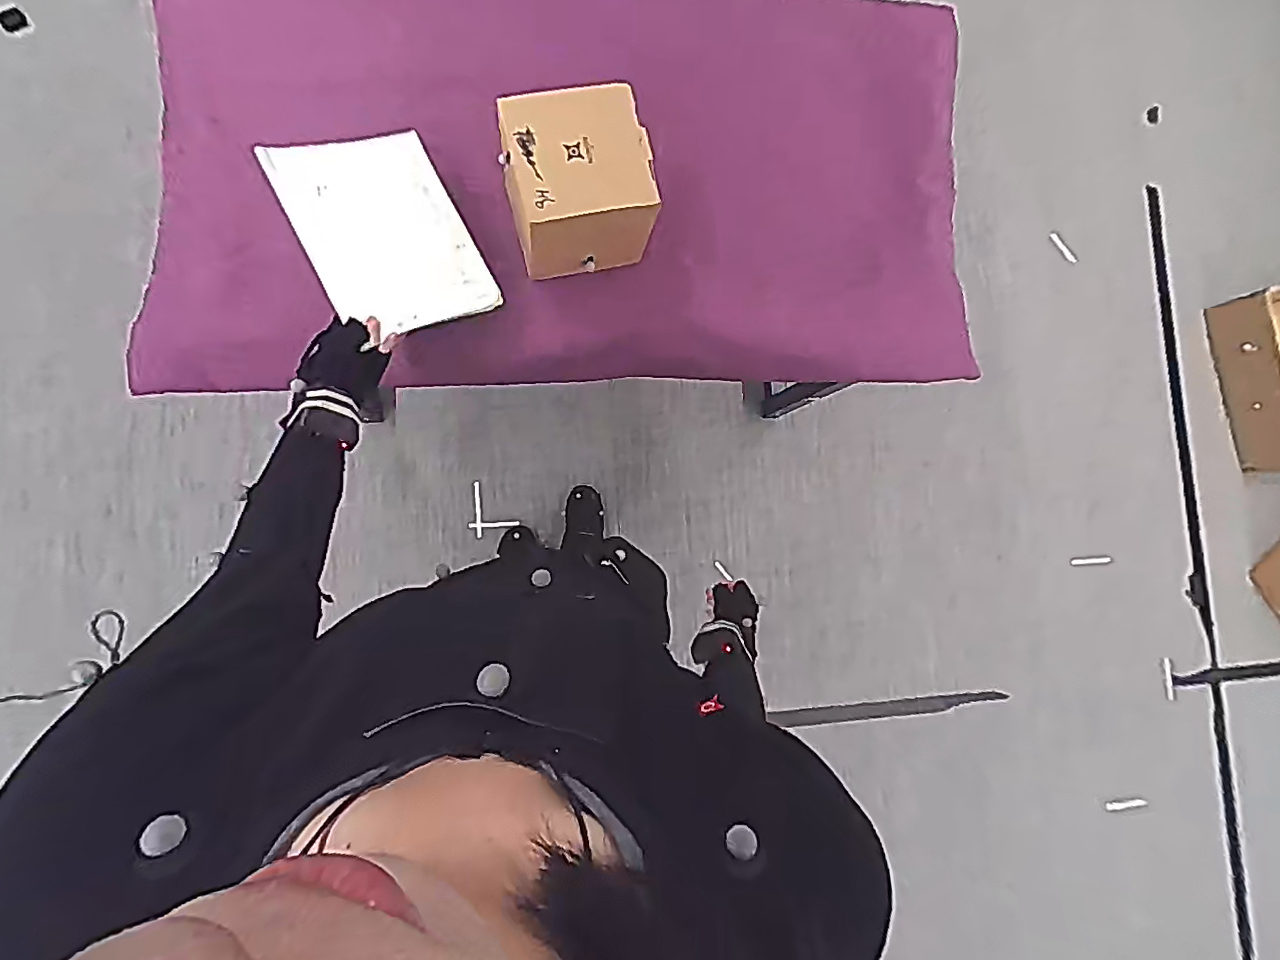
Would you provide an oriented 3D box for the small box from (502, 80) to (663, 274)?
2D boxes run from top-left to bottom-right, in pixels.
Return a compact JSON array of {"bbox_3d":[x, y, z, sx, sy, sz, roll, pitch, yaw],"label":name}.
[{"bbox_3d":[-0.086,-0.411,0.755,0.179,0.176,0.168,-14,87,-11],"label":"small box"}]
